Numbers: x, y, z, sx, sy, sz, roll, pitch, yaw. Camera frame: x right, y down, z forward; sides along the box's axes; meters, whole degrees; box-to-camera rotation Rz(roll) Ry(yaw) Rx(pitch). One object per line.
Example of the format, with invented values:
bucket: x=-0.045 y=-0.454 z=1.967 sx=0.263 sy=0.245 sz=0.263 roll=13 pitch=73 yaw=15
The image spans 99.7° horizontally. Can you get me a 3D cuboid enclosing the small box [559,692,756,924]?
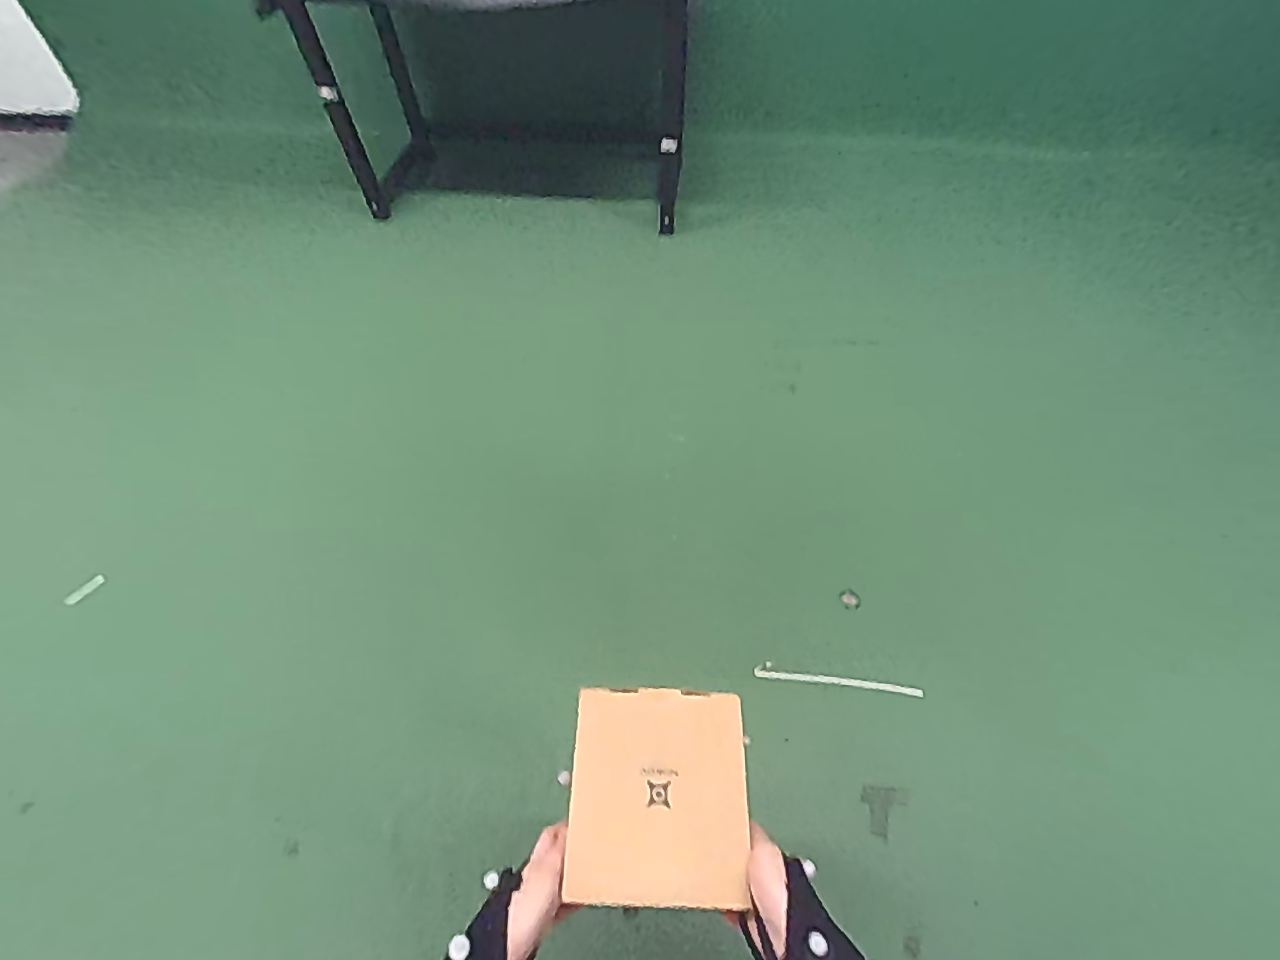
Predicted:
small box: x=0.017 y=0.331 z=0.553 sx=0.168 sy=0.176 sz=0.179 roll=2 pitch=54 yaw=0
